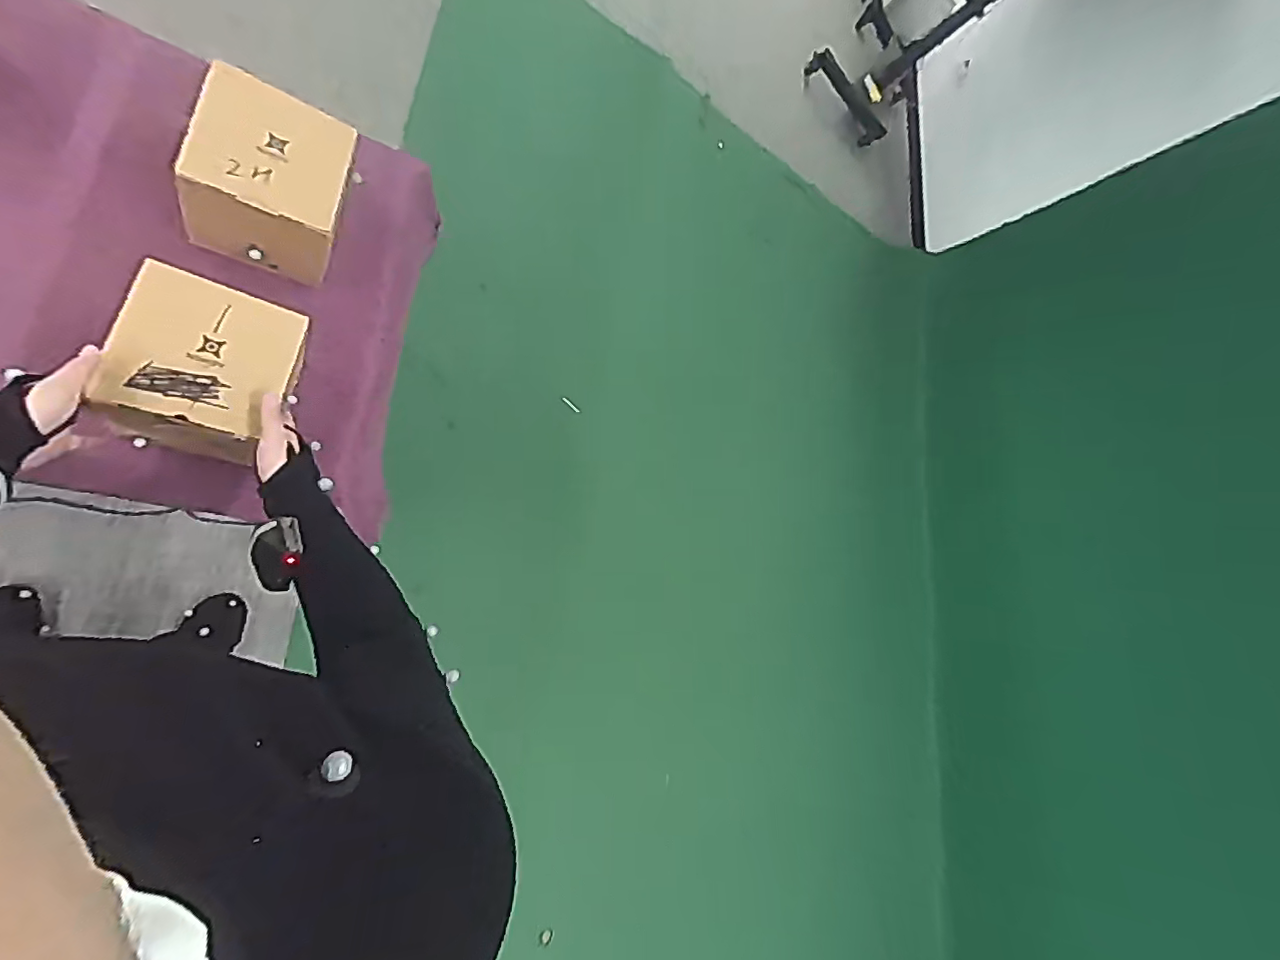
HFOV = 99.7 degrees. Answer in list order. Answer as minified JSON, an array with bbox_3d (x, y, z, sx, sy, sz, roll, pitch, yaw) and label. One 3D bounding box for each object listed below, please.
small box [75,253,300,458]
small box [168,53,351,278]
[{"bbox_3d":[-0.553,-0.140,0.687,0.168,0.176,0.179,18,70,-32],"label":"small box"},{"bbox_3d":[-0.525,-0.421,0.757,0.168,0.176,0.179,14,75,-33],"label":"small box"}]
